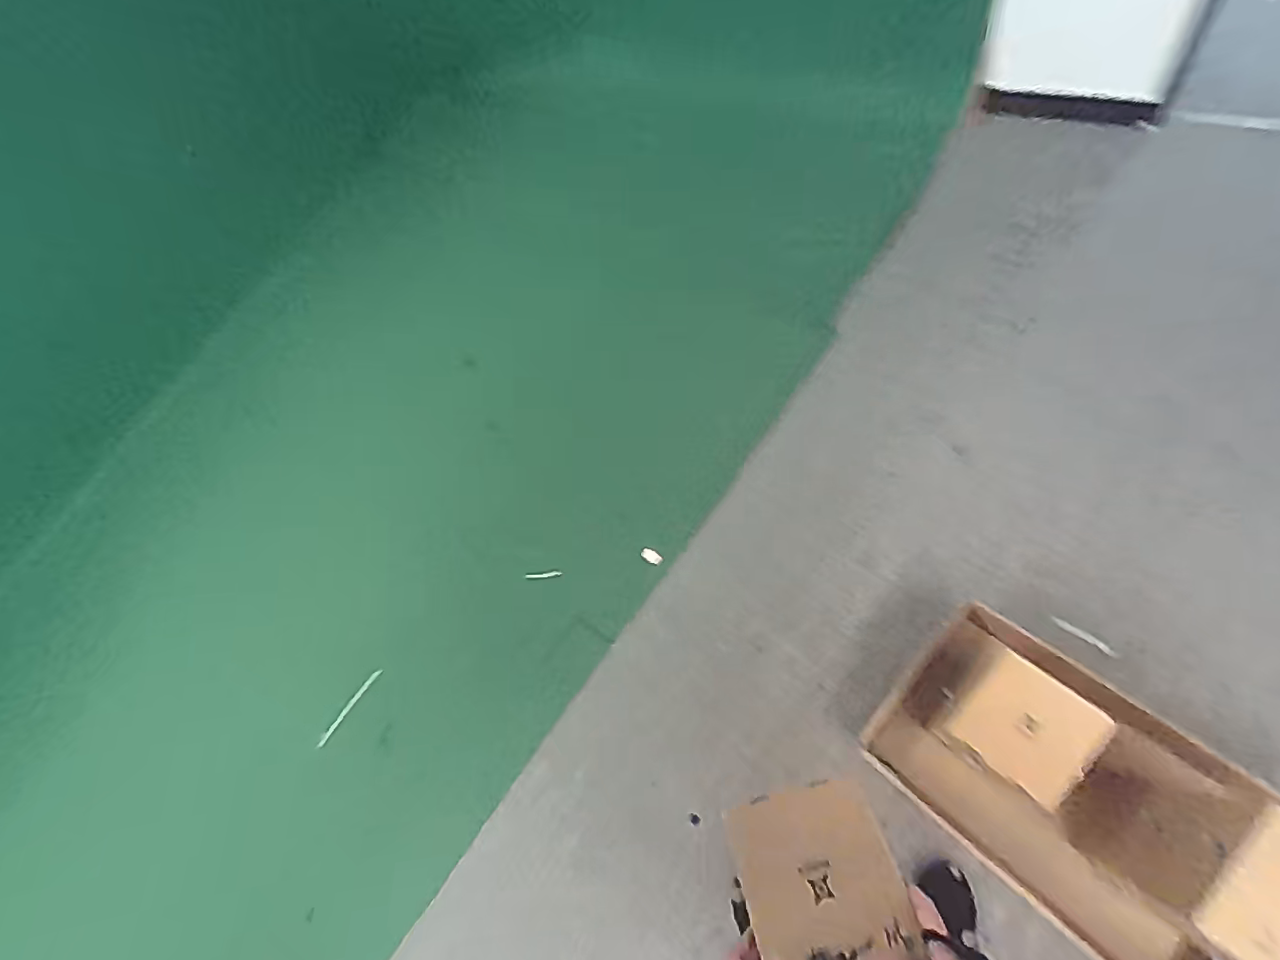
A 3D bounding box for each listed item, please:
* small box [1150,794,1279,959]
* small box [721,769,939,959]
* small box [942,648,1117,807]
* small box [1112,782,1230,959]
[{"bbox_3d":[0.772,0.508,0.644,0.168,0.176,0.179,38,85,34],"label":"small box"},{"bbox_3d":[0.199,0.469,0.619,0.168,0.176,0.179,-16,44,-2],"label":"small box"},{"bbox_3d":[0.651,0.418,0.931,0.168,0.176,0.179,38,85,31],"label":"small box"},{"bbox_3d":[0.836,0.571,0.782,0.179,0.176,0.168,-47,57,-4],"label":"small box"}]
